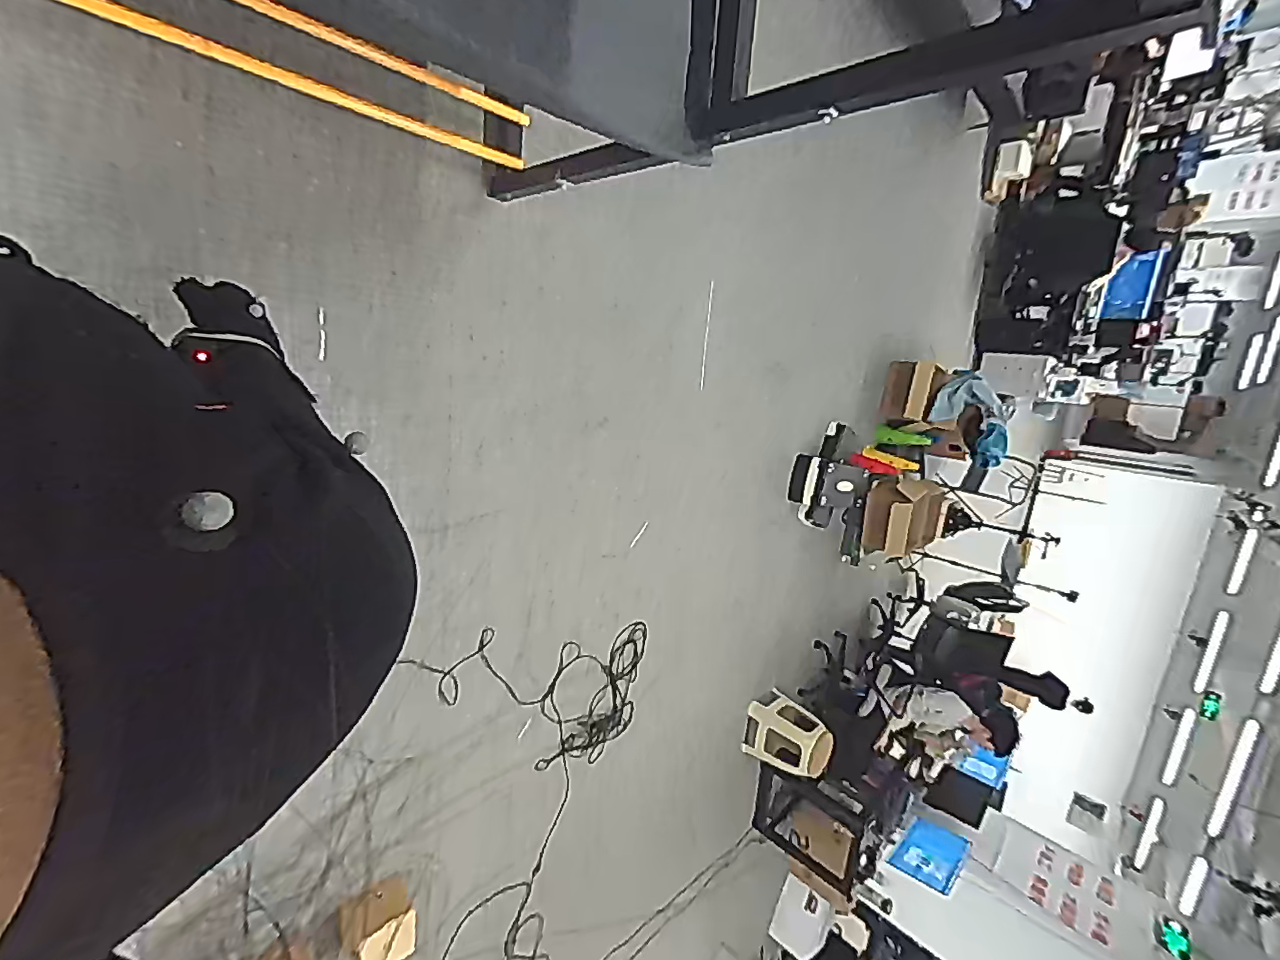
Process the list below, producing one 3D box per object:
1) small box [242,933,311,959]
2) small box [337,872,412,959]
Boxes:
[{"bbox_3d":[-1.009,1.409,1.487,0.168,0.176,0.179,-7,108,-46],"label":"small box"},{"bbox_3d":[-0.826,1.382,1.678,0.168,0.176,0.179,-7,107,-46],"label":"small box"}]
